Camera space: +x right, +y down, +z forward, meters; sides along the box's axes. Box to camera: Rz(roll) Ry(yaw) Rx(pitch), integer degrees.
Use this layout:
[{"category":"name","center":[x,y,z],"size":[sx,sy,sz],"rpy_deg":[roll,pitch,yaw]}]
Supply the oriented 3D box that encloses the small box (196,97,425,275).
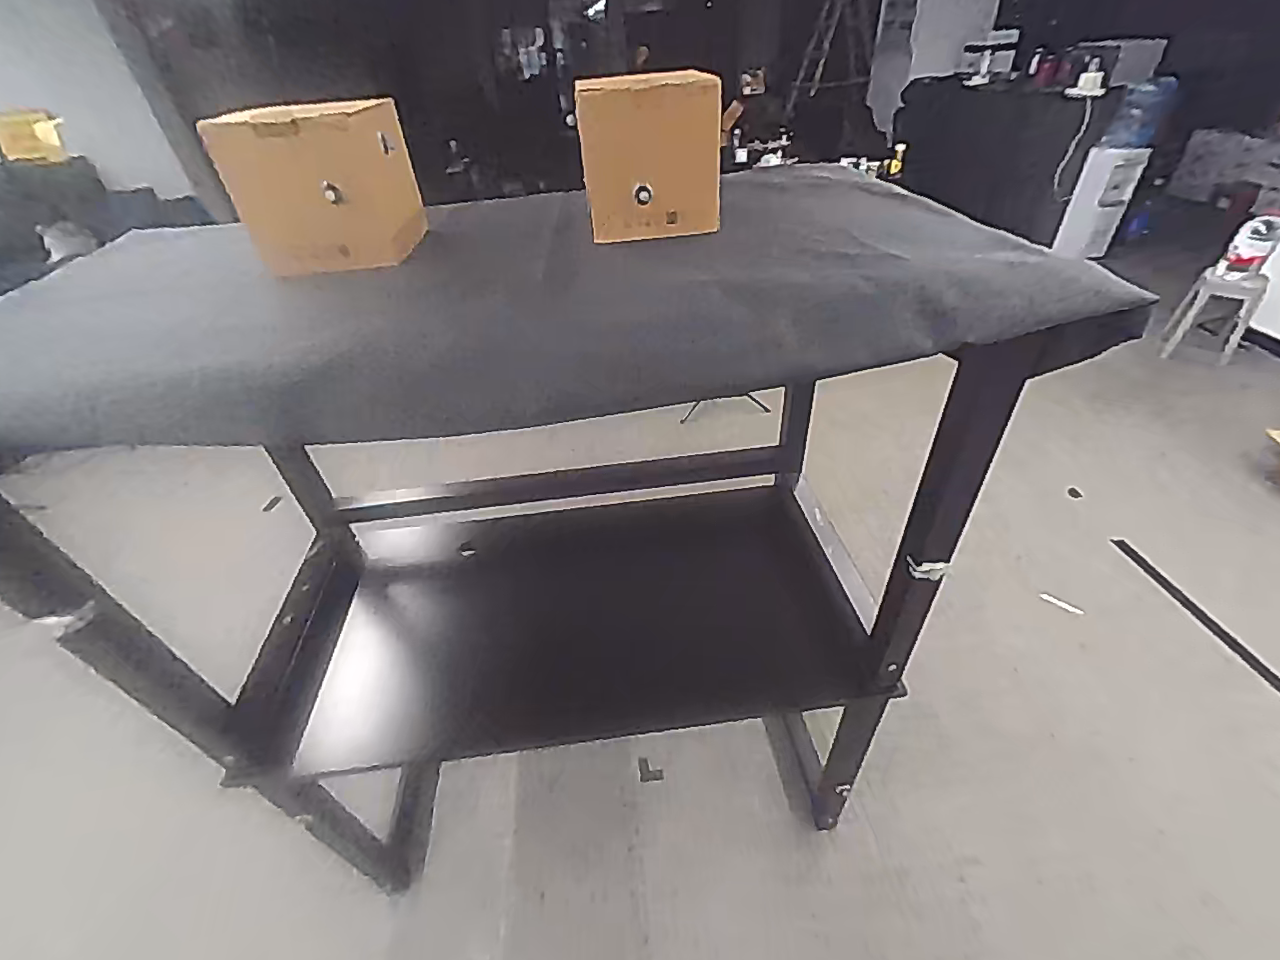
[{"category":"small box","center":[-0.393,-0.370,0.689],"size":[0.168,0.176,0.179],"rpy_deg":[-5,40,-1]}]

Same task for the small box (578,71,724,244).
[{"category":"small box","center":[0.009,-0.425,0.712],"size":[0.168,0.176,0.179],"rpy_deg":[-7,40,-2]}]
